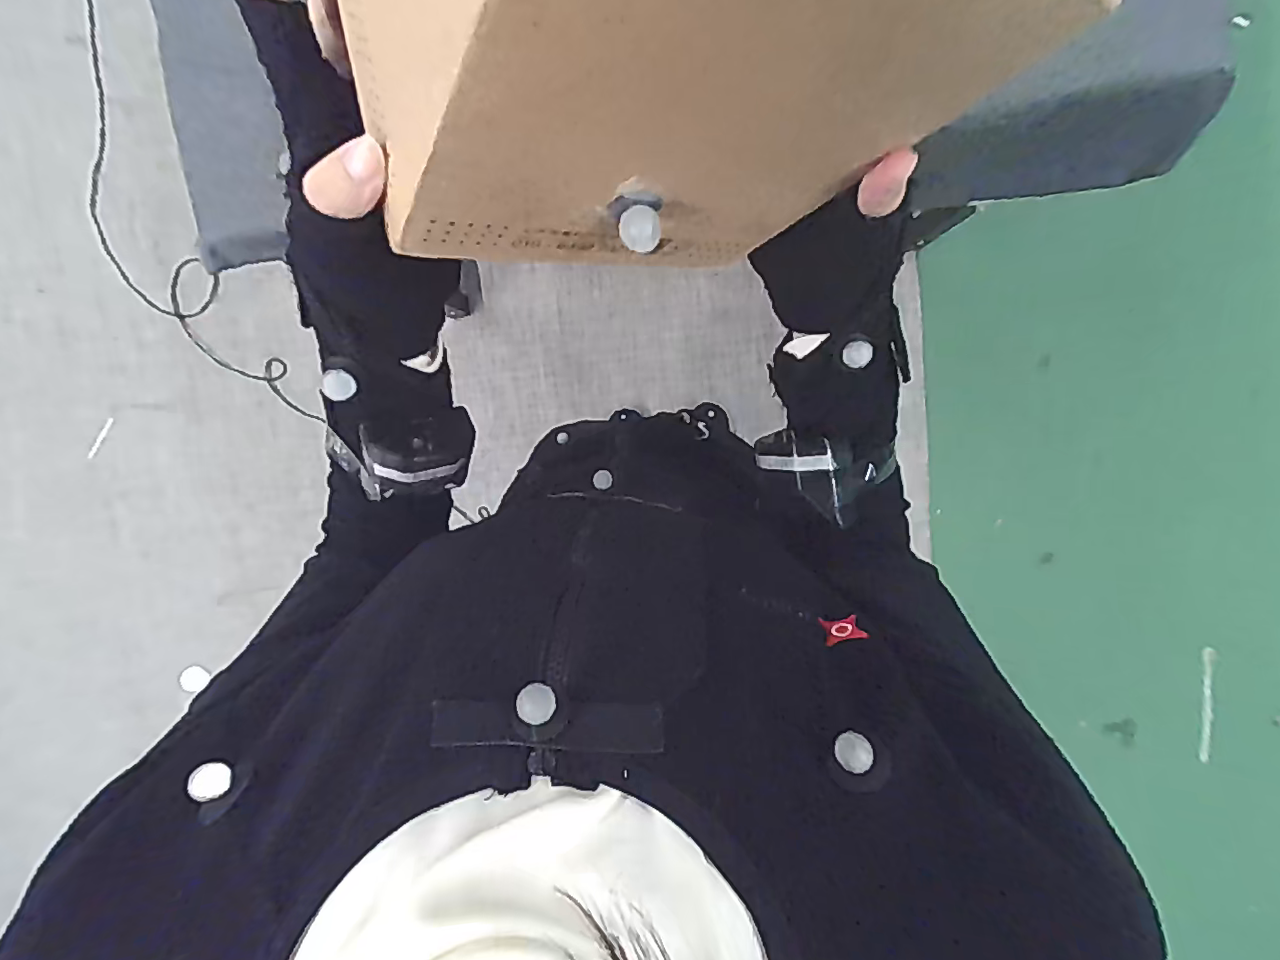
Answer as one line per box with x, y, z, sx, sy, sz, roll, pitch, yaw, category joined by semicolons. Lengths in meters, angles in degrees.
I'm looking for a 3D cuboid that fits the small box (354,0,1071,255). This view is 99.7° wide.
0.001;-0.200;0.176;0.168;0.176;0.179;-12;91;-33;small box
